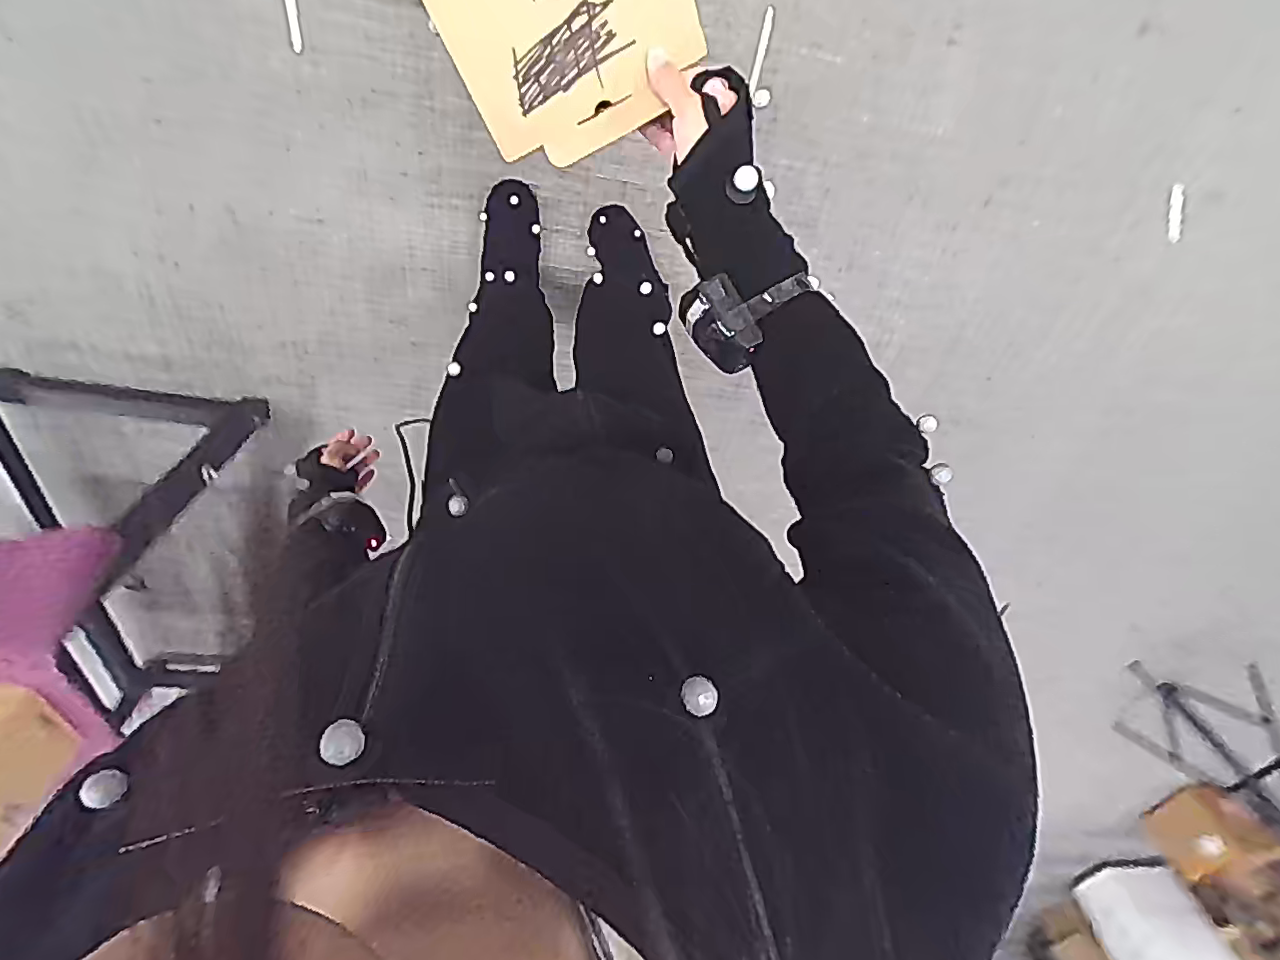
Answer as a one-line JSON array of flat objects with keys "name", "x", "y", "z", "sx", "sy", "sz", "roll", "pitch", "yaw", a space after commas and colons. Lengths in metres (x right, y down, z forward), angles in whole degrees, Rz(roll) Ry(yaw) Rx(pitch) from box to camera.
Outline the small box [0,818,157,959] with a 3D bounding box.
[{"name": "small box", "x": -1.056, "y": 0.749, "z": 1.001, "sx": 0.168, "sy": 0.176, "sz": 0.179, "roll": 7, "pitch": 126, "yaw": -11}]

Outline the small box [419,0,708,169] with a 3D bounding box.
[{"name": "small box", "x": -0.066, "y": -0.367, "z": 0.397, "sx": 0.168, "sy": 0.176, "sz": 0.179, "roll": -23, "pitch": 127, "yaw": 9}]

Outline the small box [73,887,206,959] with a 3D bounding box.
[{"name": "small box", "x": -1.131, "y": 1.049, "z": 1.226, "sx": 0.179, "sy": 0.176, "sz": 0.168, "roll": 8, "pitch": 125, "yaw": -10}]
